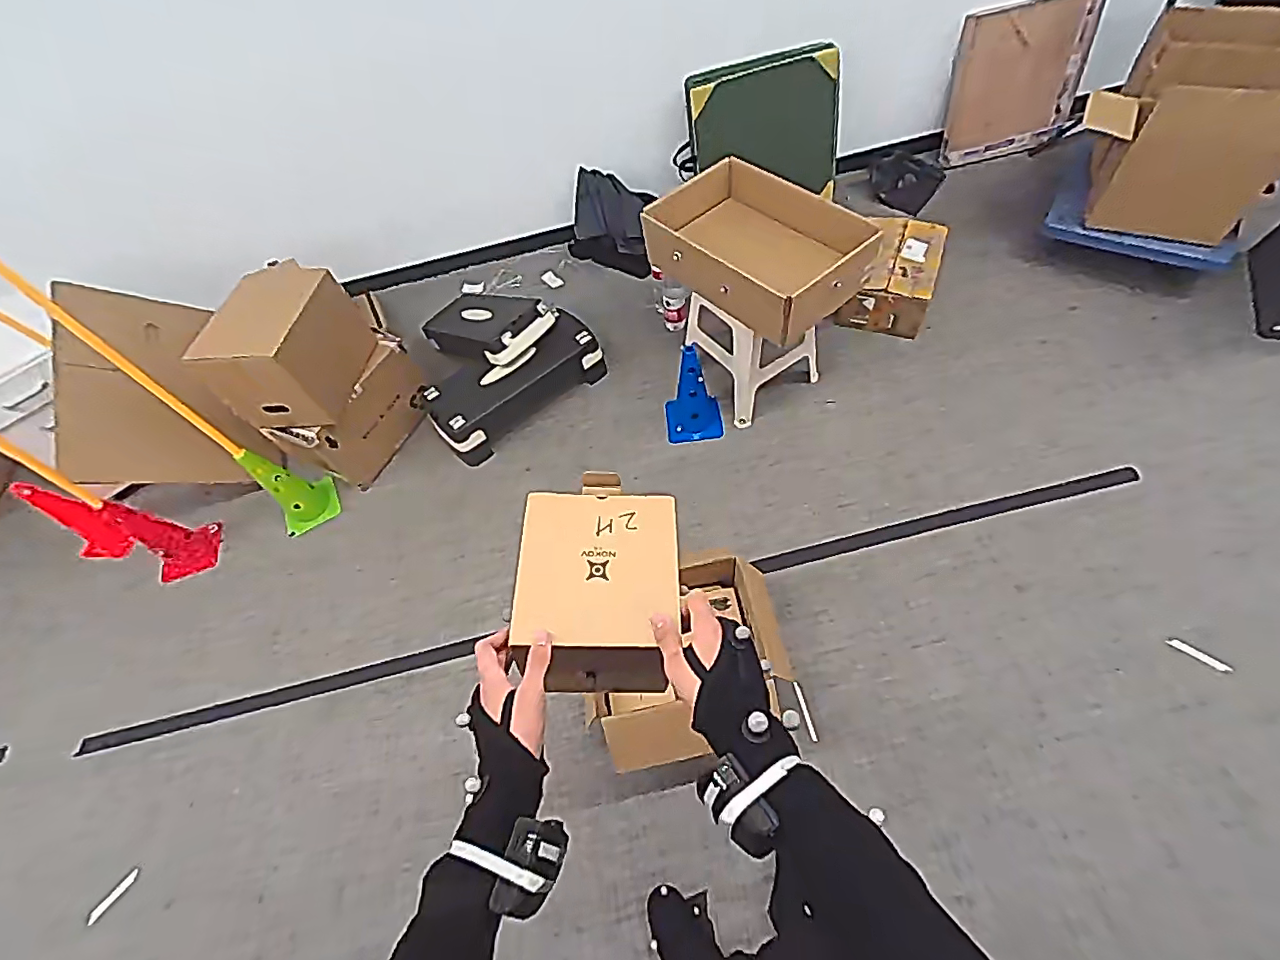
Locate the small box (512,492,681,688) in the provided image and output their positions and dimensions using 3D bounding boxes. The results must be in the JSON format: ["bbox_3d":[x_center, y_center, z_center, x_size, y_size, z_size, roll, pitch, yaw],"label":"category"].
[{"bbox_3d":[-0.044,0.134,0.628,0.168,0.176,0.179,2,54,-3],"label":"small box"}]
